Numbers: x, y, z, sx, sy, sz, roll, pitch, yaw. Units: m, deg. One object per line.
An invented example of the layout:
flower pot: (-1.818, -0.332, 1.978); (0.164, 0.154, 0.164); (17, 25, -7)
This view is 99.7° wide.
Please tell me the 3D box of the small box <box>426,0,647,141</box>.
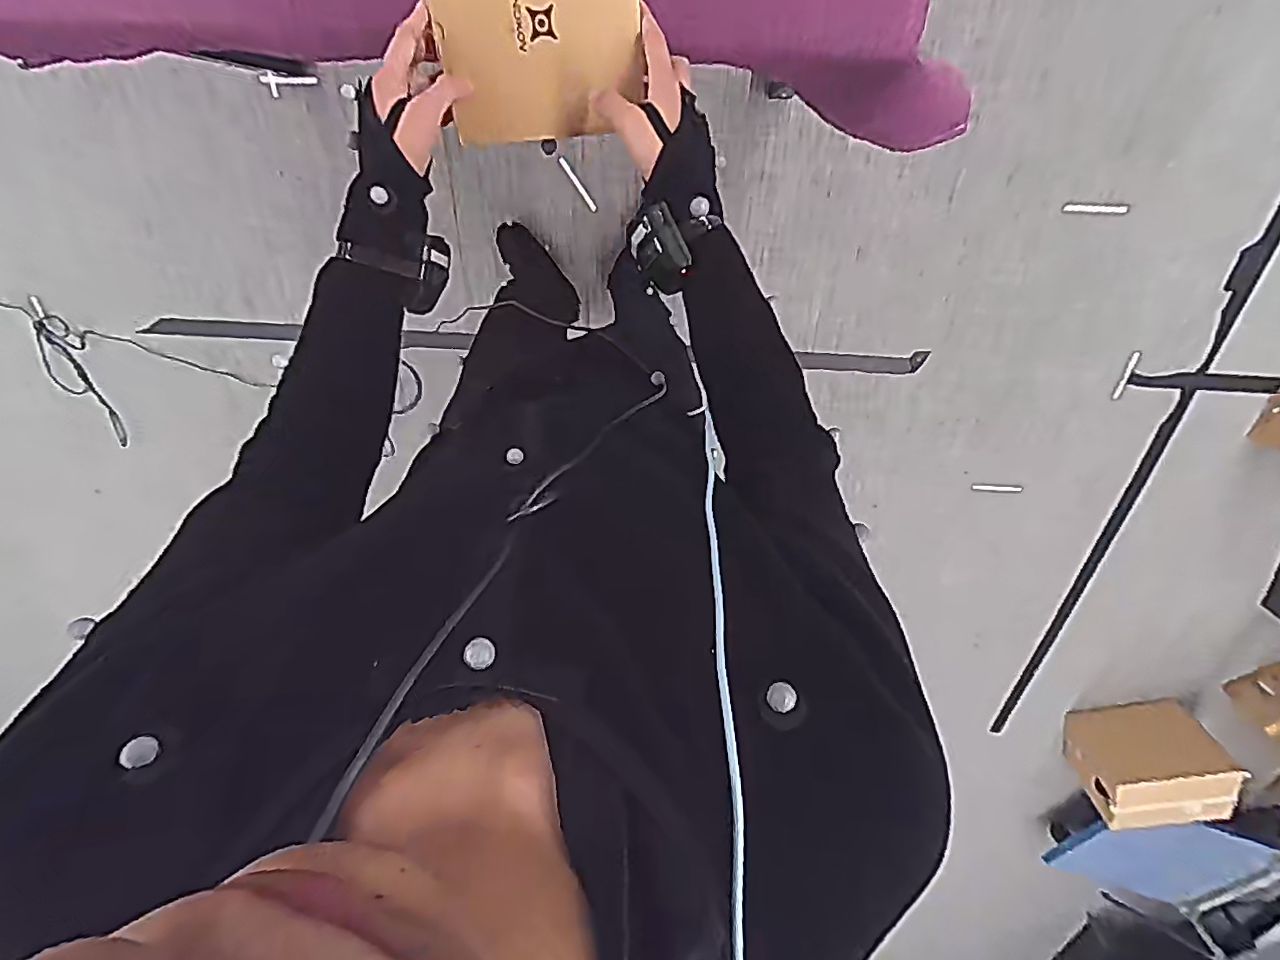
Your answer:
small box: (-0.089, -0.432, 0.504); (0.179, 0.176, 0.168); (-4, 131, 1)
